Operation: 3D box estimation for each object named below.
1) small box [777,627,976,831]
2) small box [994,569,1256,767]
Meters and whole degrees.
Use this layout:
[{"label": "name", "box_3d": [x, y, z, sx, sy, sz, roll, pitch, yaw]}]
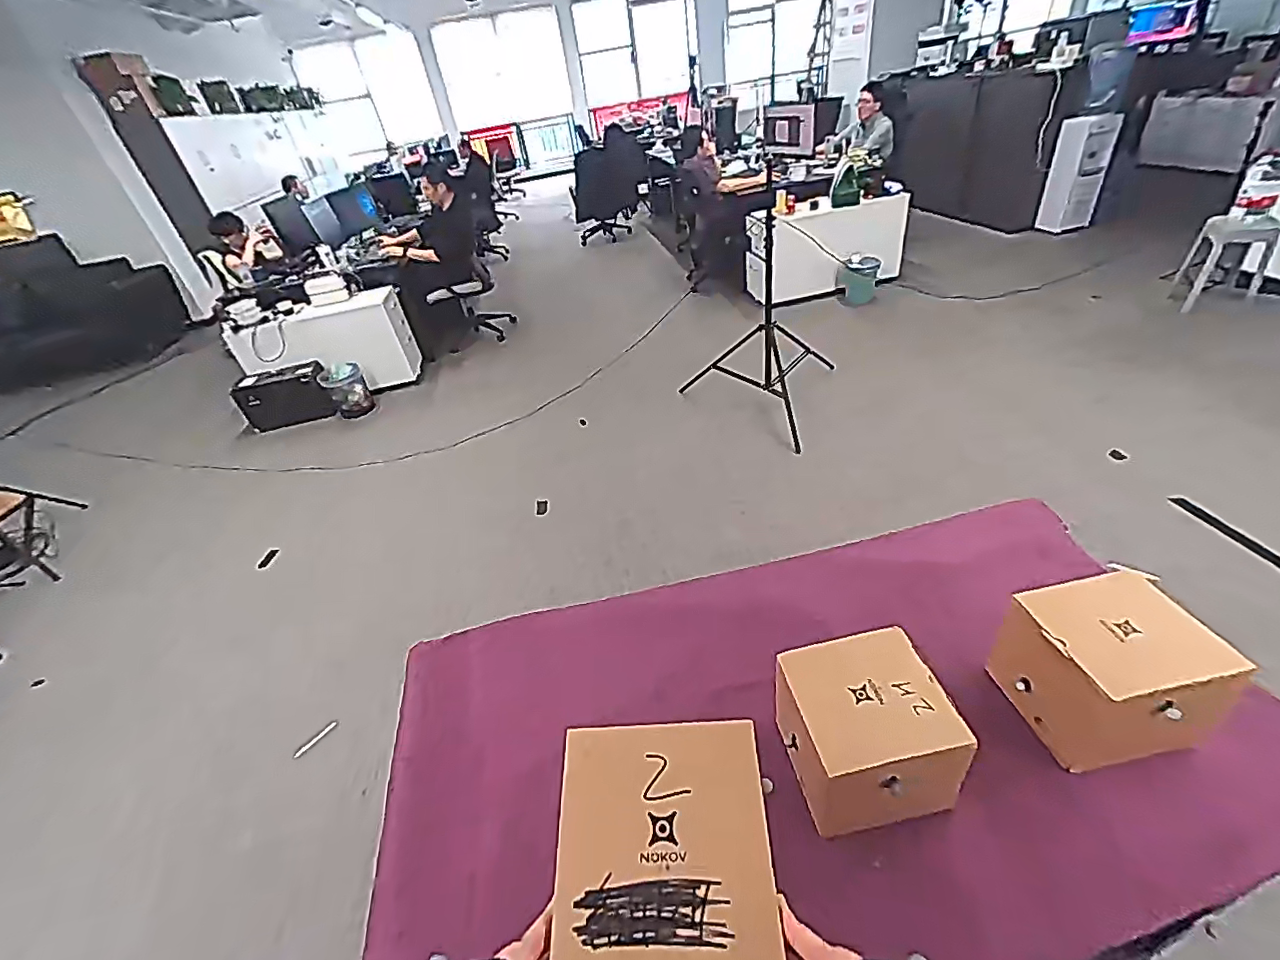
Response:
[{"label": "small box", "box_3d": [0.290, 0.324, 0.702, 0.179, 0.176, 0.168, -12, 36, -2]}, {"label": "small box", "box_3d": [0.617, 0.249, 0.720, 0.179, 0.176, 0.168, -13, 35, -1]}]
